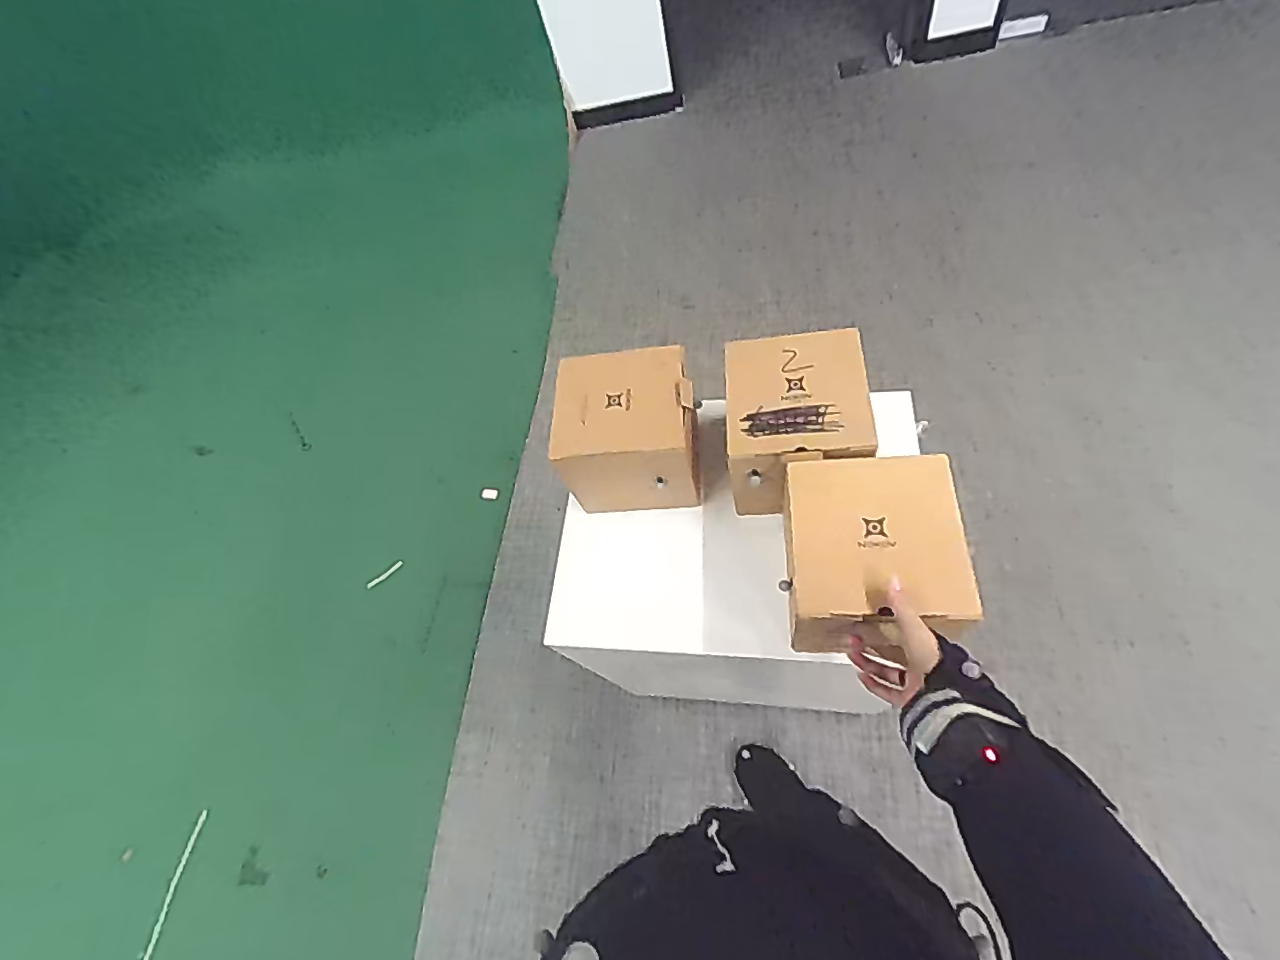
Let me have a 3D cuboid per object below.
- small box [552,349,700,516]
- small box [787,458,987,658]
[{"bbox_3d":[-0.008,-0.059,0.765,0.179,0.176,0.168,-5,60,11],"label":"small box"},{"bbox_3d":[0.258,0.093,0.614,0.168,0.176,0.179,-2,61,13],"label":"small box"}]
